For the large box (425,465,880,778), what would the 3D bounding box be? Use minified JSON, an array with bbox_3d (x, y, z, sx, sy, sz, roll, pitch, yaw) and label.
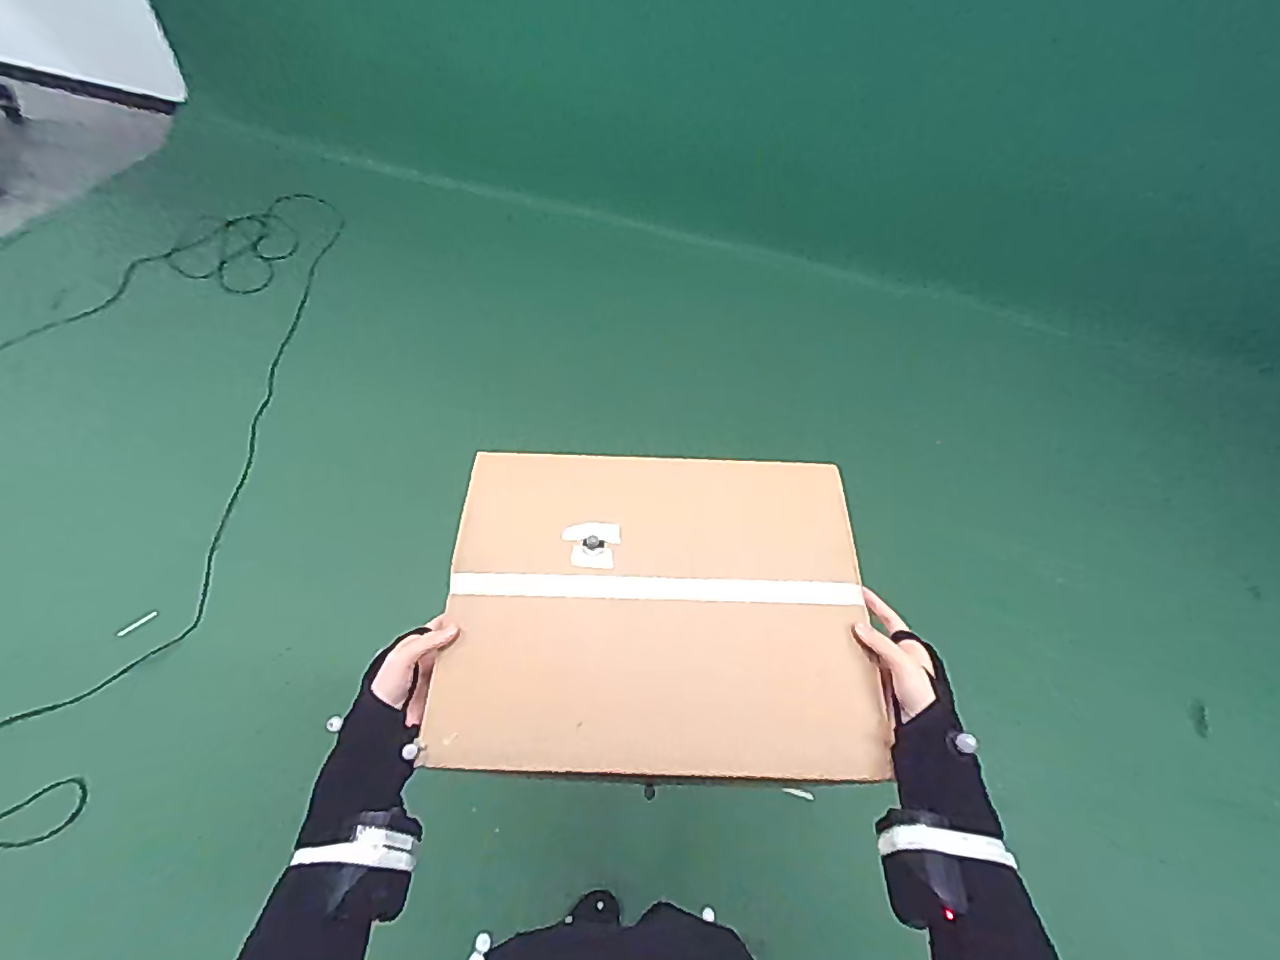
[{"bbox_3d":[0.012,0.191,0.670,0.408,0.320,0.320,1,59,0],"label":"large box"}]
